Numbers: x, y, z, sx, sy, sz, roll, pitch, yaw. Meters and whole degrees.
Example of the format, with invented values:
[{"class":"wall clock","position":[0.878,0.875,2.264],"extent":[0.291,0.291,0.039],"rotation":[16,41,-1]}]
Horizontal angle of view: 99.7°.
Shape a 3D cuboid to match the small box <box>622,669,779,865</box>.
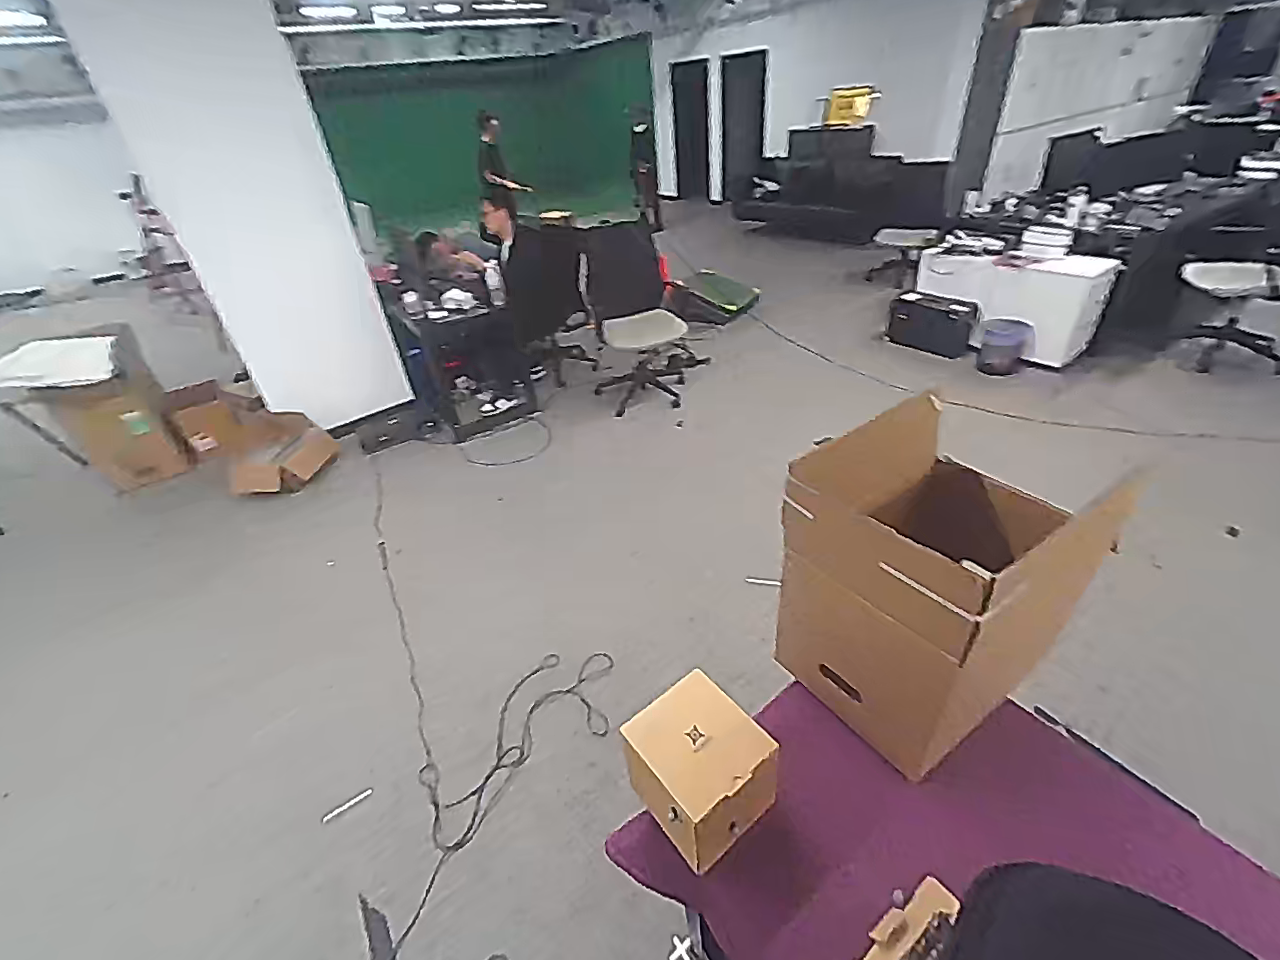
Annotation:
[{"class":"small box","position":[0.091,0.442,0.841],"extent":[0.168,0.176,0.179],"rotation":[-27,42,-27]}]
